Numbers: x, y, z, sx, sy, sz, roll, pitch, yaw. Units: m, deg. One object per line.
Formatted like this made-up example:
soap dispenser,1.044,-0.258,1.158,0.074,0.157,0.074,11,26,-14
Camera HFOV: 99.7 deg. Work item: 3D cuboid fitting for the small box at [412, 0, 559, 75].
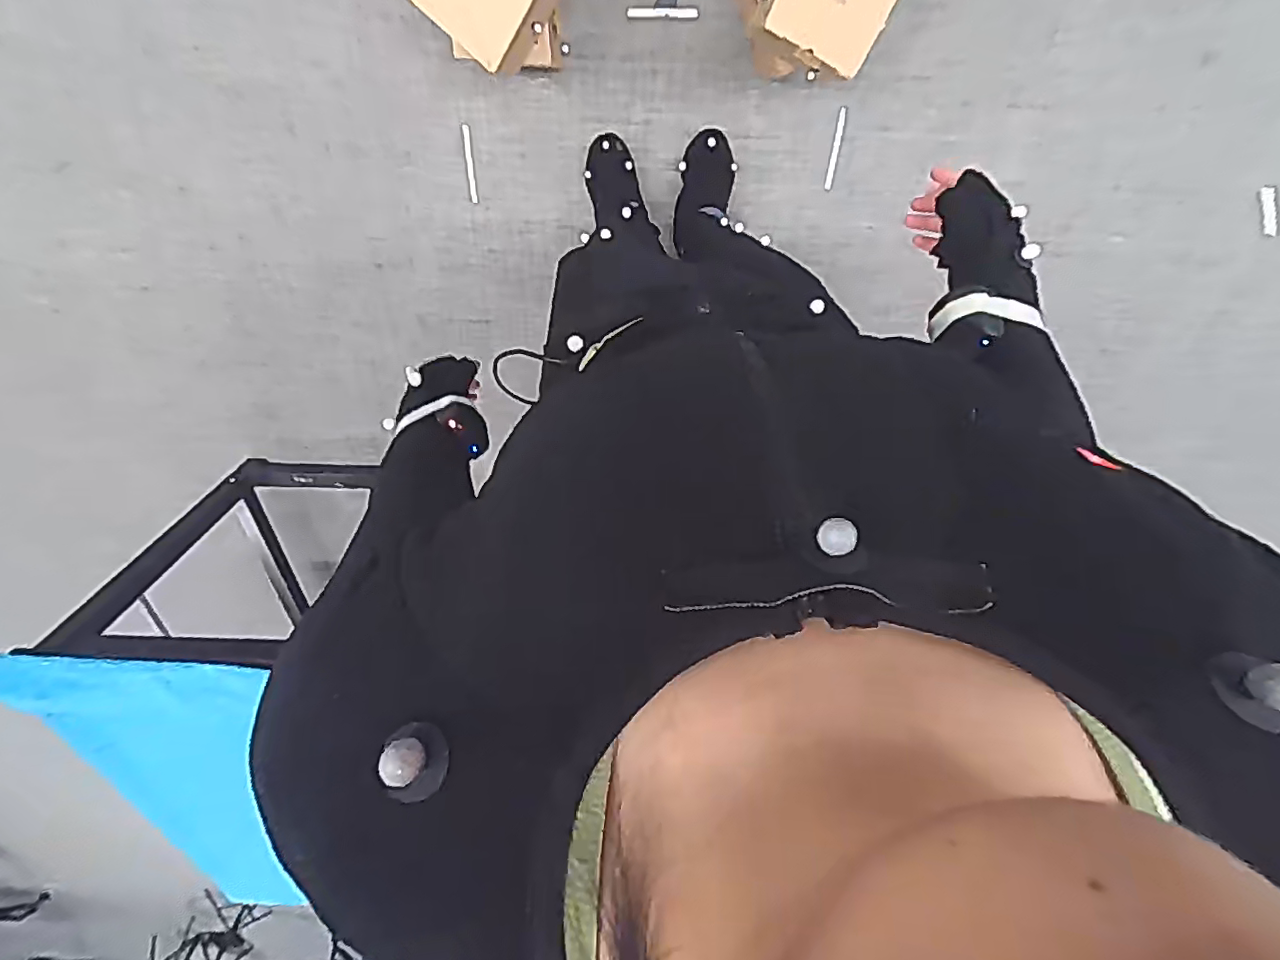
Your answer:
small box,-0.237,-0.776,0.845,0.179,0.176,0.168,30,120,-19

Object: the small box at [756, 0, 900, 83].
small box,0.297,-0.759,0.845,0.168,0.176,0.179,20,123,-14

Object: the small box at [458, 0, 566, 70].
small box,-0.230,-0.862,0.989,0.179,0.176,0.168,4,125,0

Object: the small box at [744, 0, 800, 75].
small box,0.296,-0.866,0.972,0.179,0.176,0.168,-26,121,18
